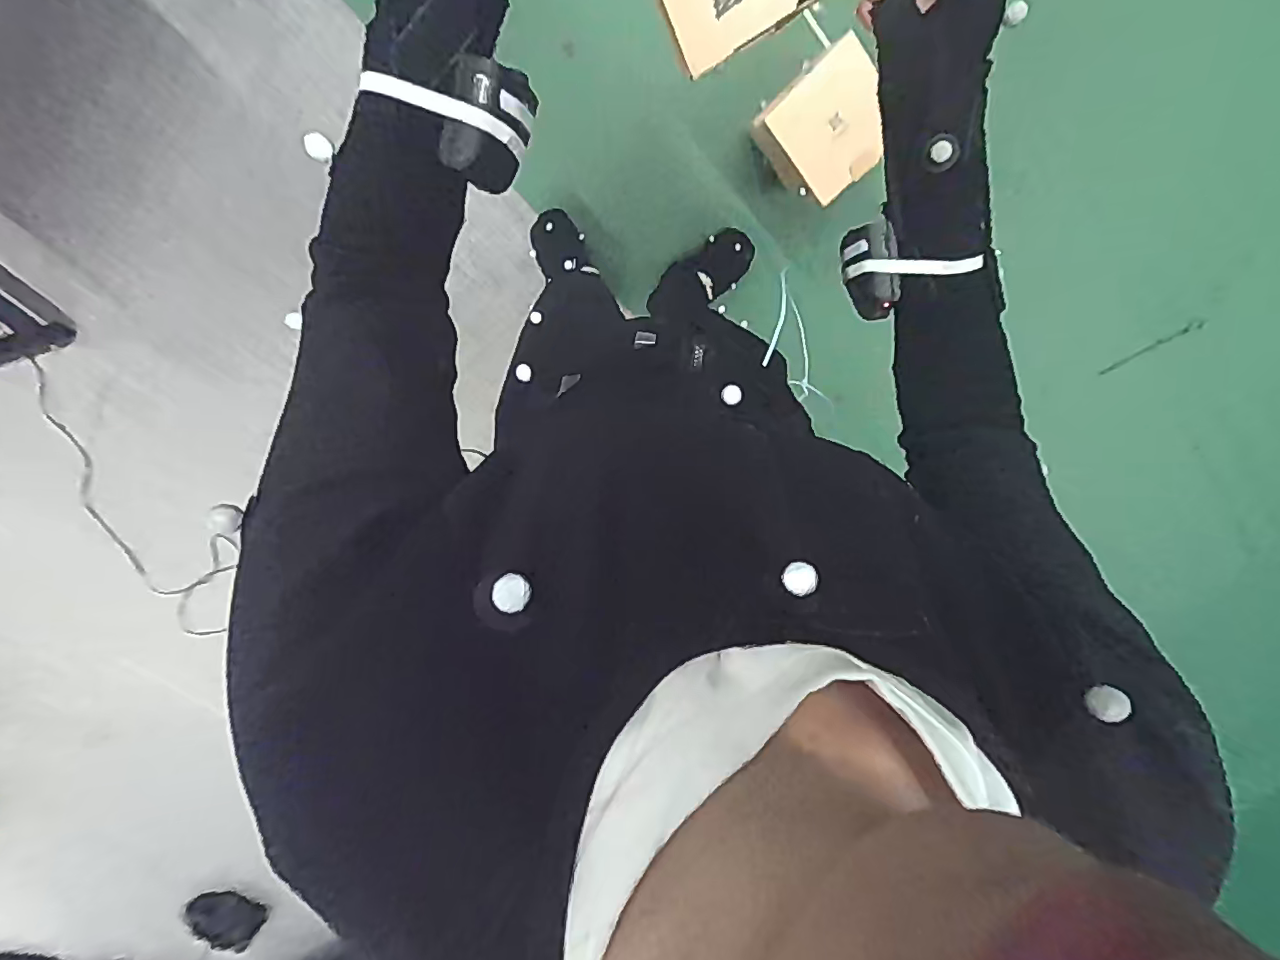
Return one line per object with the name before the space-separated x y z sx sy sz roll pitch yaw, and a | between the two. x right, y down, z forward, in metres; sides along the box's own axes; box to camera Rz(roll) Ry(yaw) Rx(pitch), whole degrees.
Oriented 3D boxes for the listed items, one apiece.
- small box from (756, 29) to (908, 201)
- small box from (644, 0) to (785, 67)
small box | 0.320 -0.617 0.938 0.168 0.176 0.179 -38 112 23
small box | 0.059 -0.418 0.359 0.168 0.176 0.179 -22 123 17
